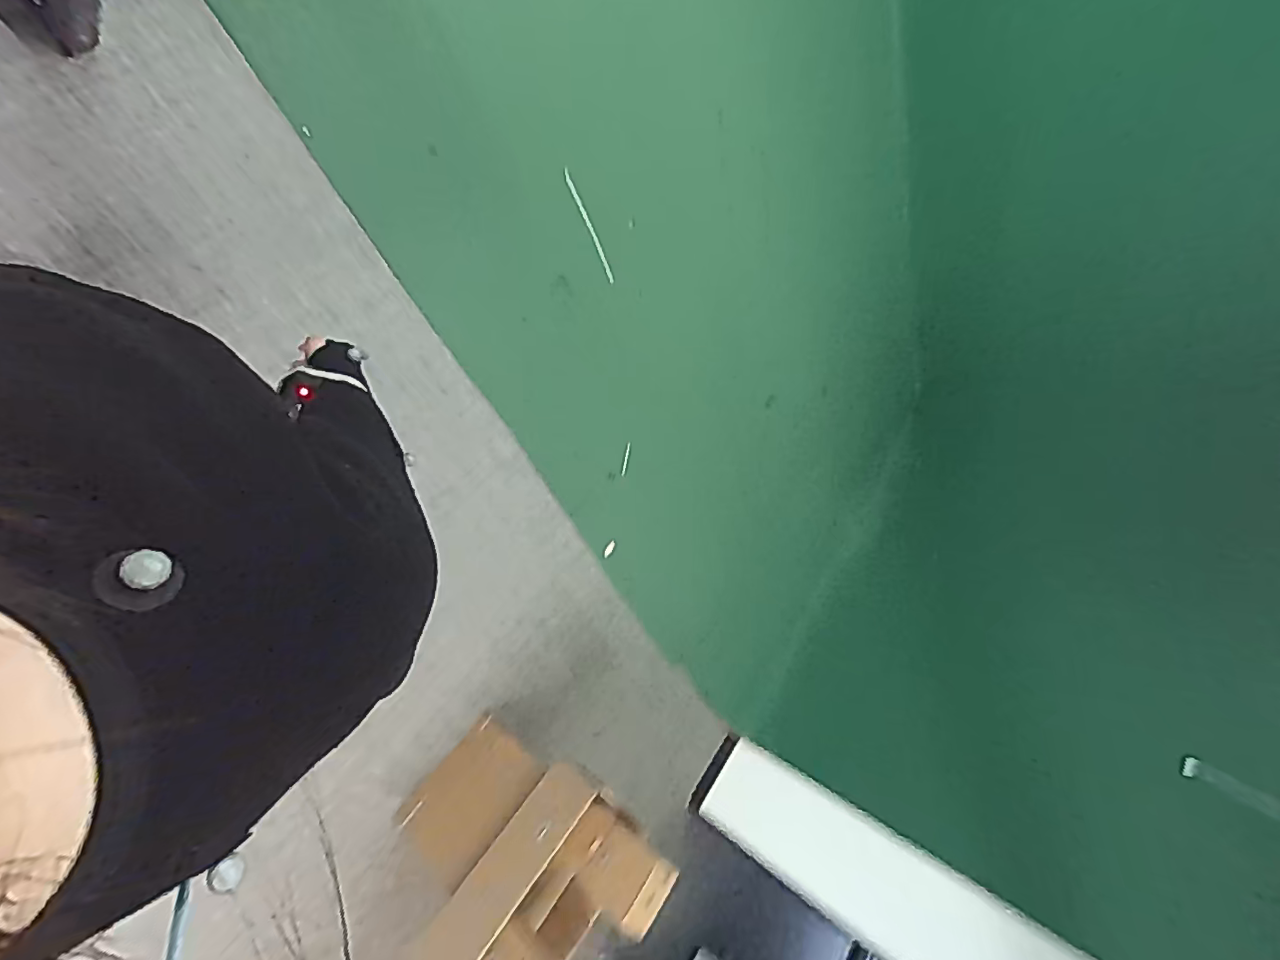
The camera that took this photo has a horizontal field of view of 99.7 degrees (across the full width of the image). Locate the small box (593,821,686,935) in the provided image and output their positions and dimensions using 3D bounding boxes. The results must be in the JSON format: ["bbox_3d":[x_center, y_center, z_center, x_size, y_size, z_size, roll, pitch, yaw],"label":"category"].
[{"bbox_3d":[-0.008,1.105,1.508,0.179,0.176,0.168,-49,132,-23],"label":"small box"}]

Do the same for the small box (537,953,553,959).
[{"bbox_3d":[-0.236,1.347,1.353,0.168,0.176,0.179,-42,130,-27],"label":"small box"}]
